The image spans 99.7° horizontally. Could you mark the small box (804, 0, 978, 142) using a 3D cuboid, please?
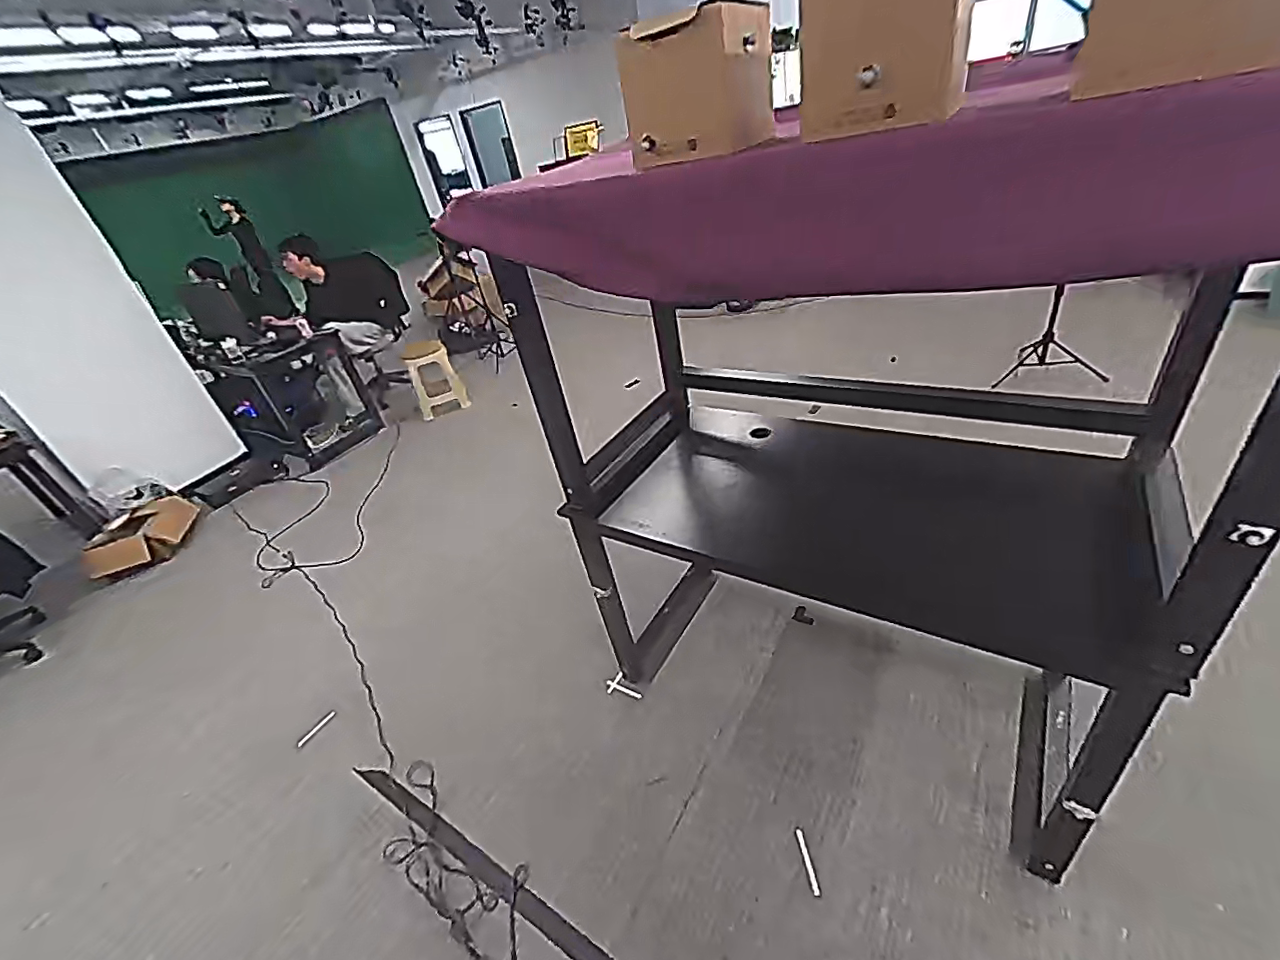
[{"bbox_3d":[0.301,-0.523,0.653,0.168,0.176,0.179,10,39,31],"label":"small box"}]

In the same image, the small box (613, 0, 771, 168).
[{"bbox_3d":[0.087,-0.569,0.794,0.168,0.176,0.179,10,39,31],"label":"small box"}]

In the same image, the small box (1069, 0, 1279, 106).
[{"bbox_3d":[0.525,-0.465,0.493,0.179,0.176,0.168,13,40,35],"label":"small box"}]
